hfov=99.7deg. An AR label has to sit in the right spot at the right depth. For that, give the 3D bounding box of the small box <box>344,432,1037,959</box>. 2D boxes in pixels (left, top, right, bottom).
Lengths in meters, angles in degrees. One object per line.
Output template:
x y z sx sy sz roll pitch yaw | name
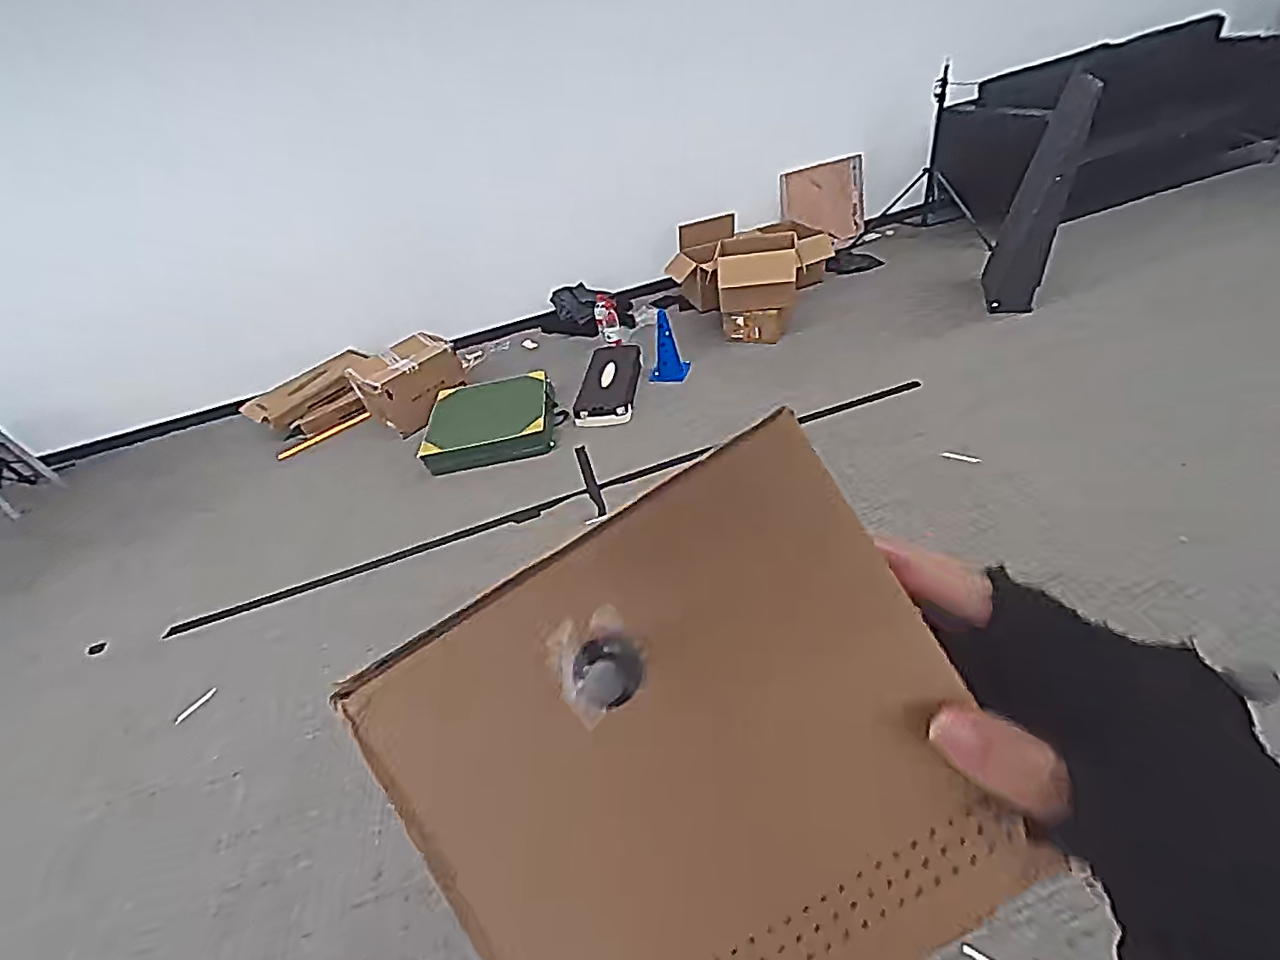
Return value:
0.020 0.100 0.251 0.179 0.176 0.168 -33 -1 3 | small box
